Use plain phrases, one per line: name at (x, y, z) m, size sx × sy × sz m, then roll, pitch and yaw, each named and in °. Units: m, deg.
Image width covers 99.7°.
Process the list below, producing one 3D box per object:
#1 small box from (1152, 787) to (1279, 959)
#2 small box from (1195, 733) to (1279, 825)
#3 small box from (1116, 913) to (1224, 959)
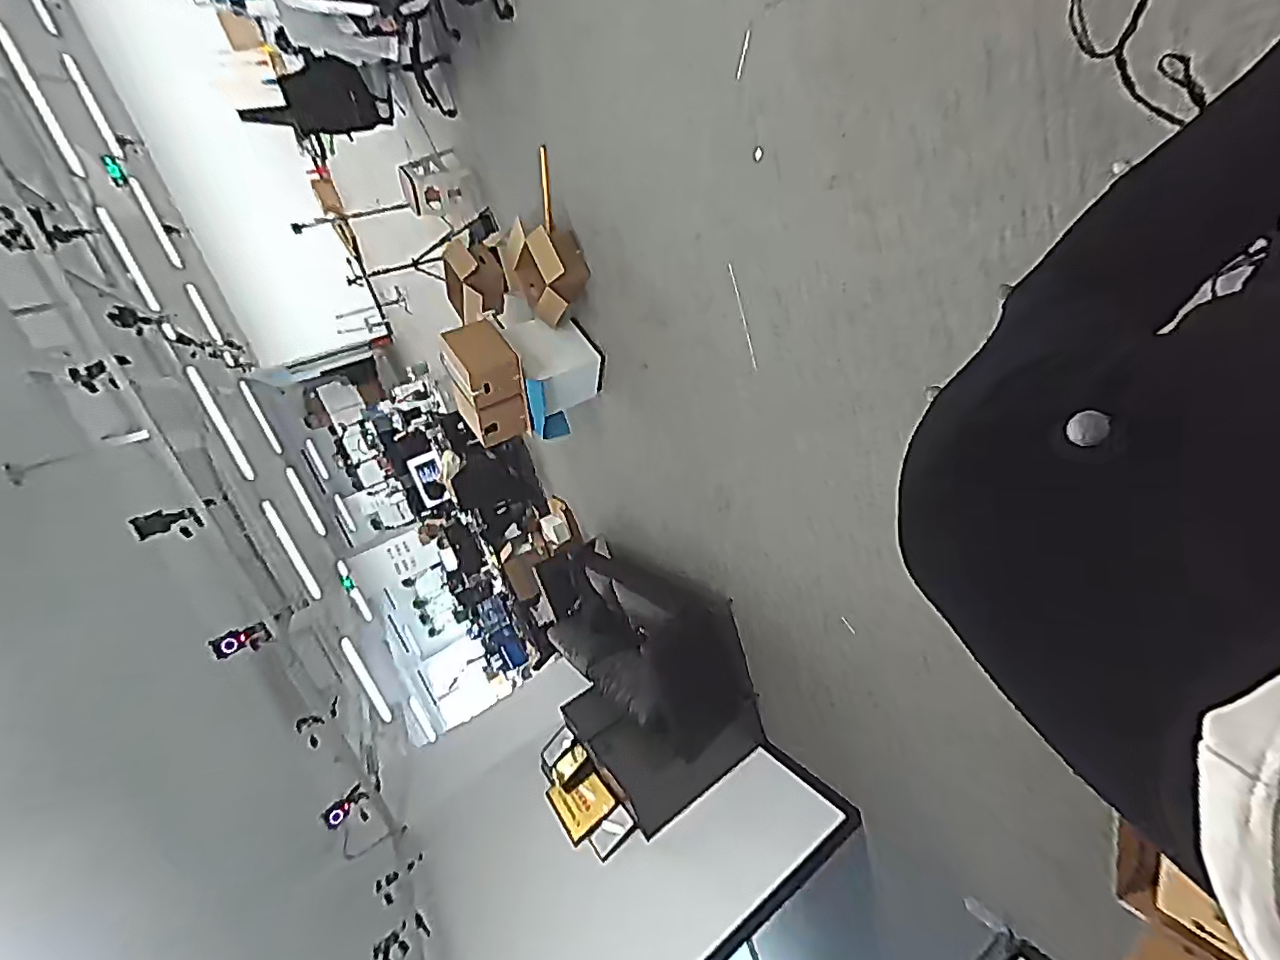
small box at (1.059, 0.698, 0.961) m, size 0.168 × 0.176 × 0.179 m, roll 22°, pitch 133°, yaw 57°
small box at (1.192, 0.630, 1.026) m, size 0.168 × 0.176 × 0.179 m, roll 20°, pitch 133°, yaw 57°
small box at (0.985, 0.953, 0.979) m, size 0.168 × 0.176 × 0.179 m, roll 16°, pitch 126°, yaw 60°
